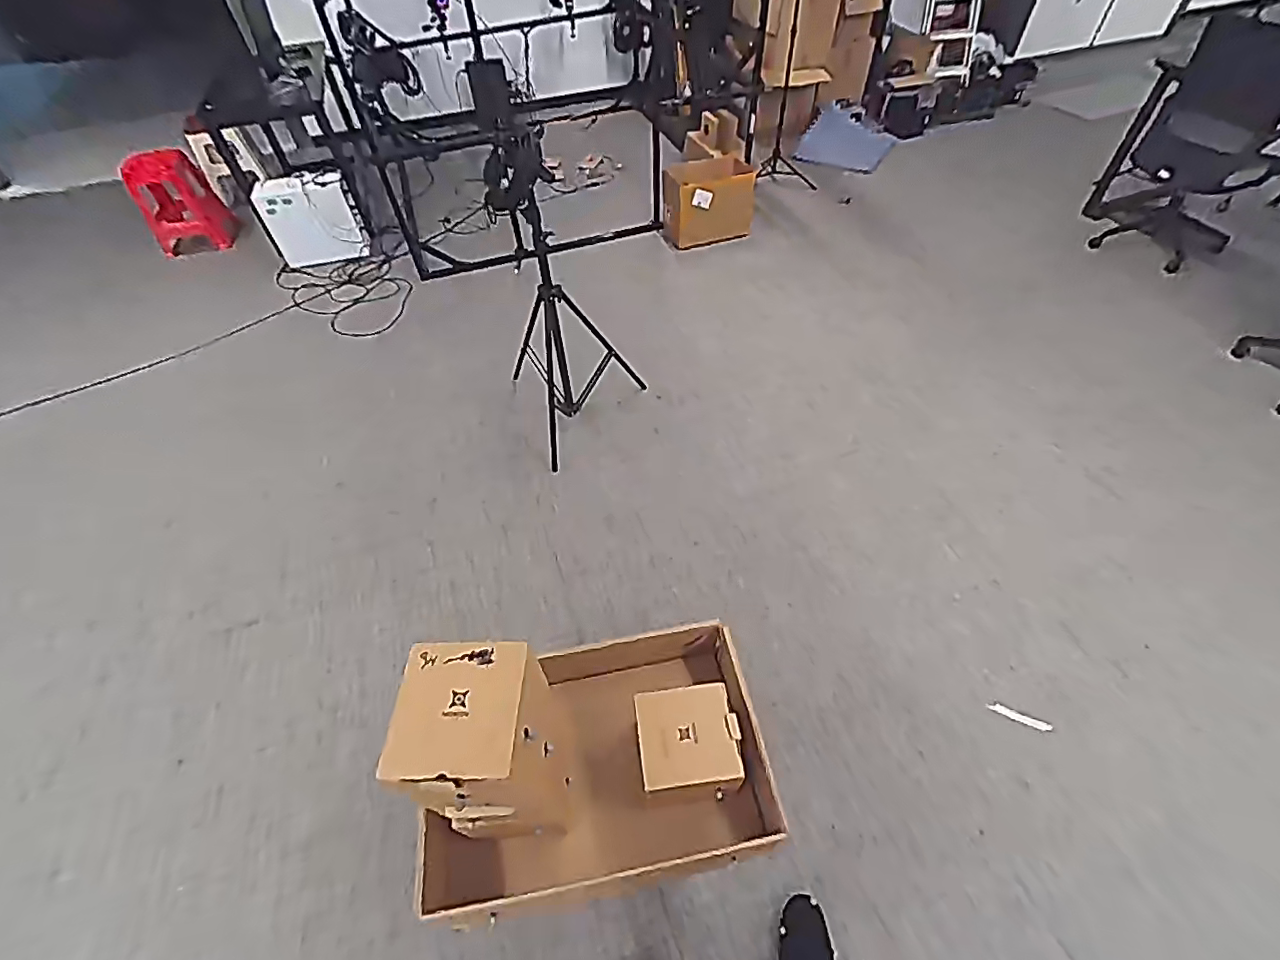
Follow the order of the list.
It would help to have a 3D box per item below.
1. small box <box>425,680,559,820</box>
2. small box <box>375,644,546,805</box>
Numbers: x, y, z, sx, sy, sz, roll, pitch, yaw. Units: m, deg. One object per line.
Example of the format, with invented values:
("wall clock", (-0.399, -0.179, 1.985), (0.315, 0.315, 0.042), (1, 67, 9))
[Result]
("small box", (-0.230, 0.448, 0.891), (0.168, 0.176, 0.179), (-4, 49, 0))
("small box", (-0.234, 0.347, 0.761), (0.168, 0.176, 0.179), (-1, 51, 2))
